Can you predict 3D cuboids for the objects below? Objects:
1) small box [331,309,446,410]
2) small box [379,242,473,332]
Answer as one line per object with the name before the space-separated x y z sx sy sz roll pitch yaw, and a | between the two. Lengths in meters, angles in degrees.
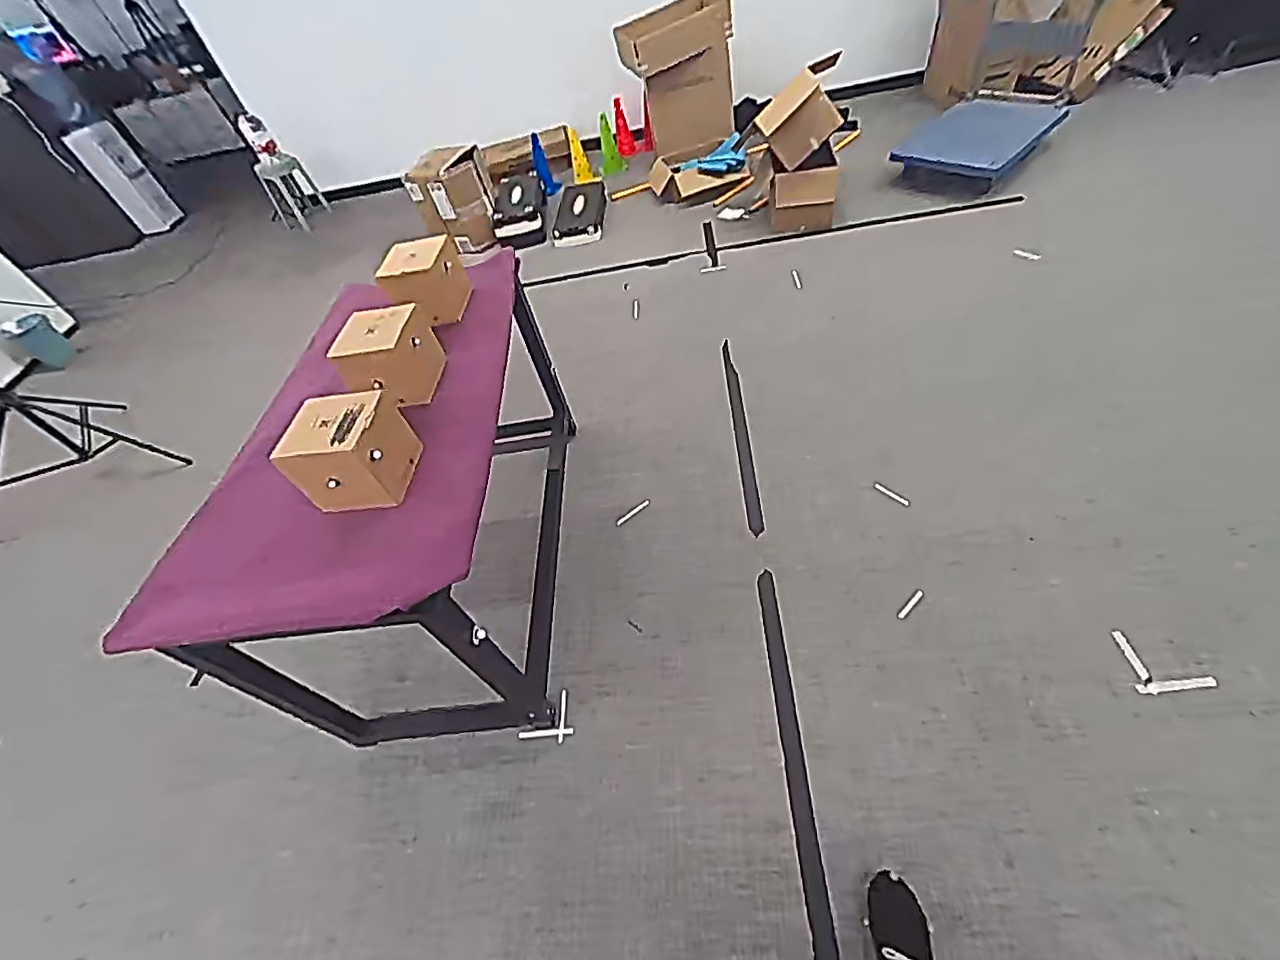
small box | -0.588 -0.280 1.293 0.168 0.176 0.179 -5 49 8
small box | -0.588 -0.535 1.512 0.168 0.176 0.179 -6 50 10
